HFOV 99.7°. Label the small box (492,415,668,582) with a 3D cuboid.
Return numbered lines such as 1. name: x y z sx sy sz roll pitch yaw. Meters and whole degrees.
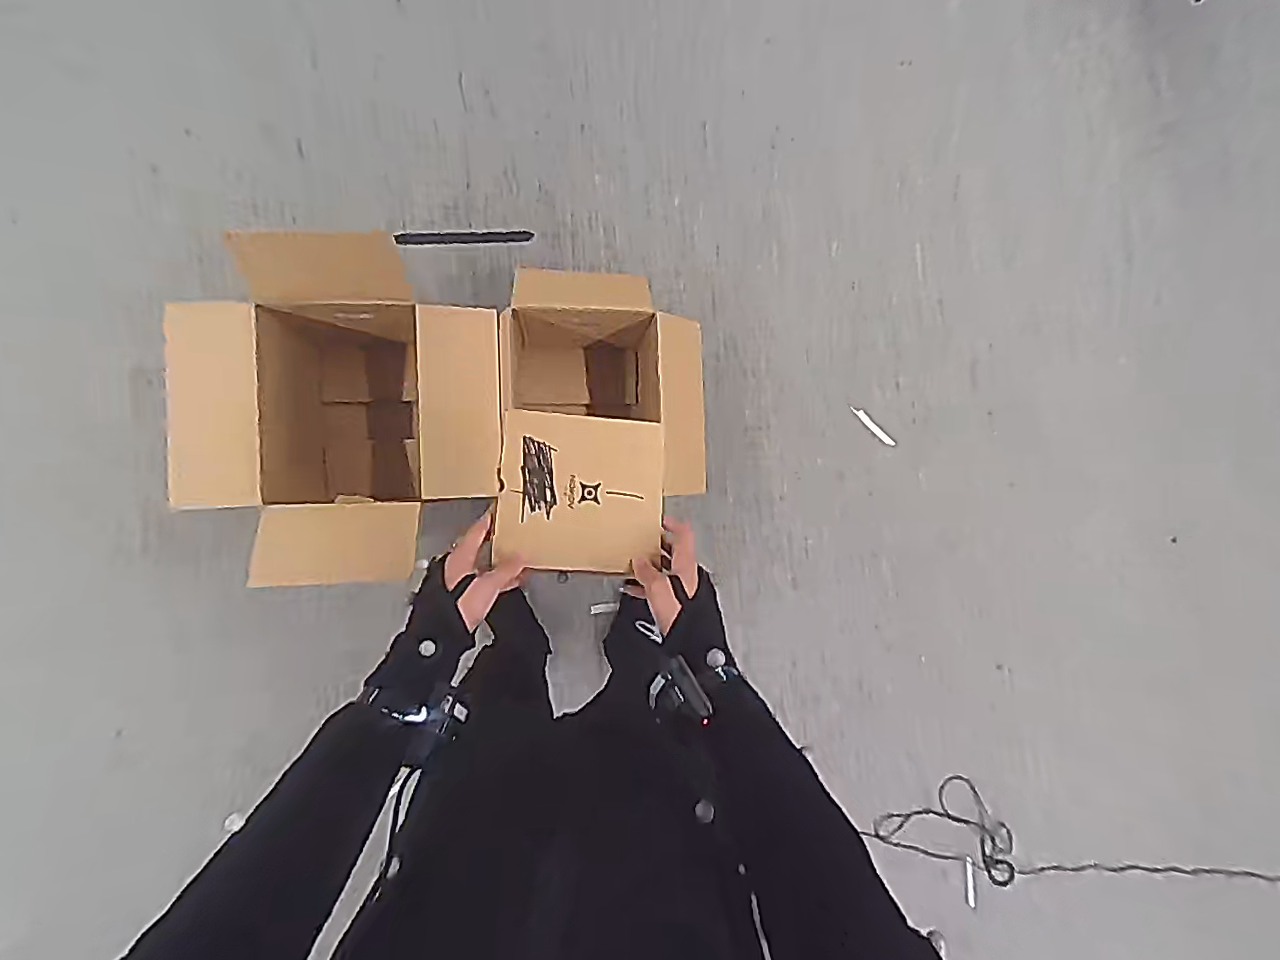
1. small box: -0.071 0.033 0.645 0.179 0.176 0.168 5 78 -9
